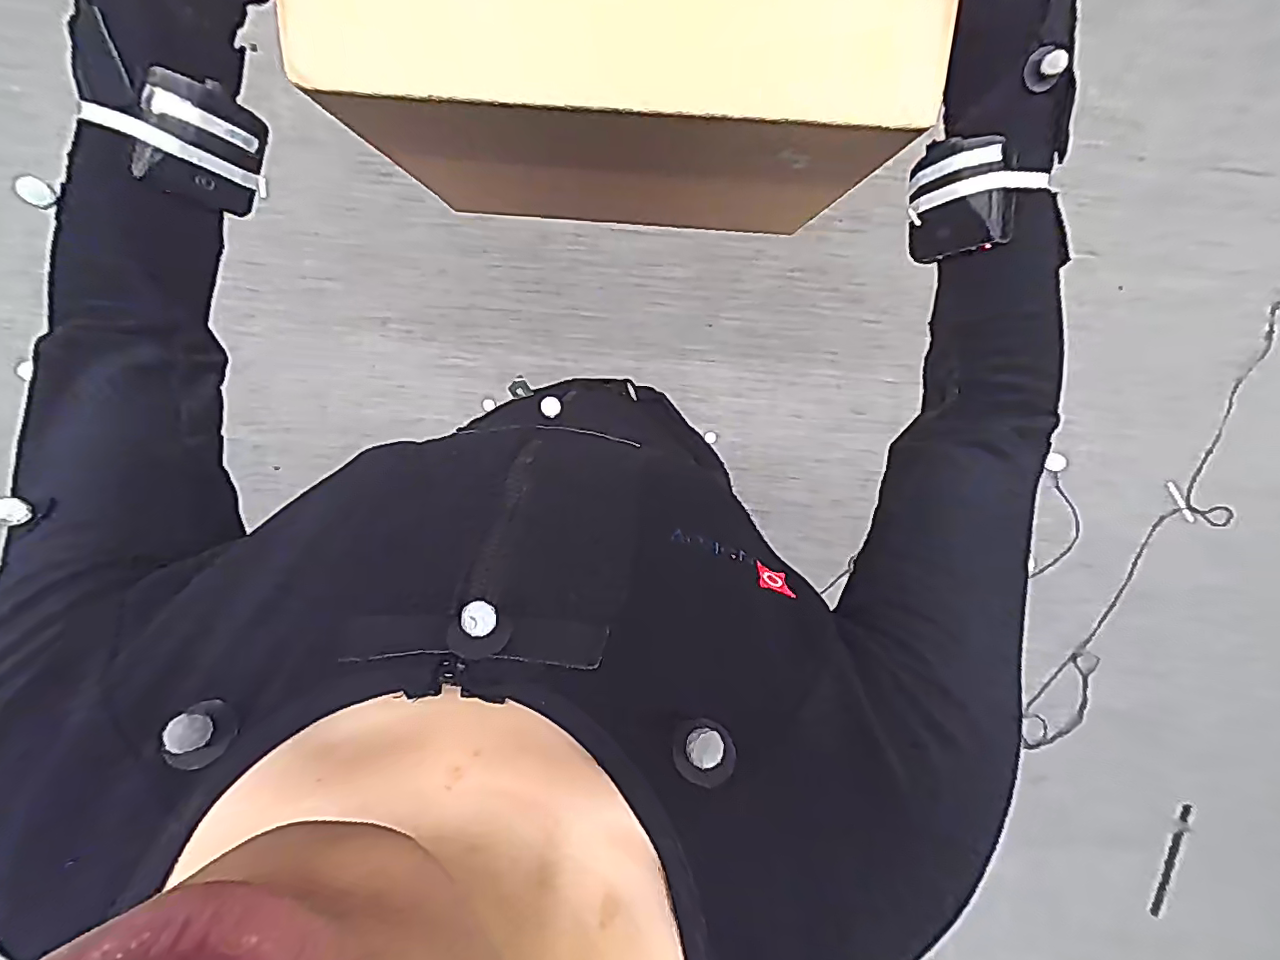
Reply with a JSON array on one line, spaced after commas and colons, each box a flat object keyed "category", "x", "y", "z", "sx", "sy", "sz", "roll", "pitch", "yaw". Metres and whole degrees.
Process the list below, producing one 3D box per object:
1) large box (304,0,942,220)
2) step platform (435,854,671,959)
[{"category": "large box", "x": -0.009, "y": -0.426, "z": 0.458, "sx": 0.408, "sy": 0.320, "sz": 0.320, "roll": 2, "pitch": 104, "yaw": -2}, {"category": "step platform", "x": -0.249, "y": 1.321, "z": 1.604, "sx": 0.684, "sy": 0.204, "sz": 0.286, "roll": 2, "pitch": 99, "yaw": 1}]
